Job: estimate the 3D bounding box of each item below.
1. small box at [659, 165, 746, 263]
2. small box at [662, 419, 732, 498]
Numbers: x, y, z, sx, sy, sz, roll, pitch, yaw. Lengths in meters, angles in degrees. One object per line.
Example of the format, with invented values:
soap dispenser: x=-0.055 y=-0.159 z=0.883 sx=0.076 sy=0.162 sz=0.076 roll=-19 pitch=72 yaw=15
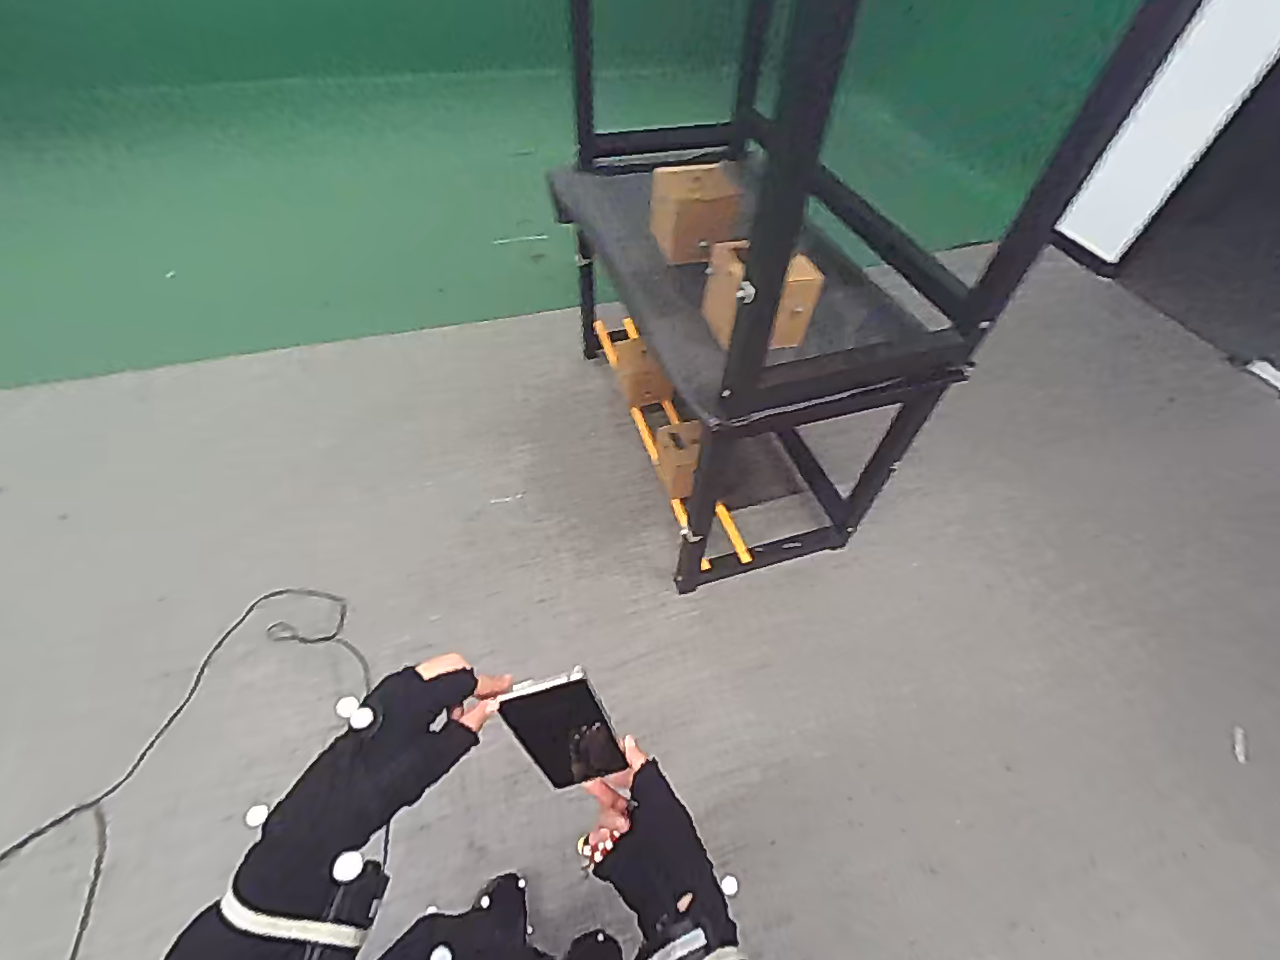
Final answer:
small box: x=0.149 y=-0.676 z=1.376 sx=0.168 sy=0.176 sz=0.179 roll=-10 pitch=52 yaw=-10
small box: x=0.169 y=-0.062 z=1.686 sx=0.179 sy=0.176 sz=0.168 roll=-10 pitch=53 yaw=-10
